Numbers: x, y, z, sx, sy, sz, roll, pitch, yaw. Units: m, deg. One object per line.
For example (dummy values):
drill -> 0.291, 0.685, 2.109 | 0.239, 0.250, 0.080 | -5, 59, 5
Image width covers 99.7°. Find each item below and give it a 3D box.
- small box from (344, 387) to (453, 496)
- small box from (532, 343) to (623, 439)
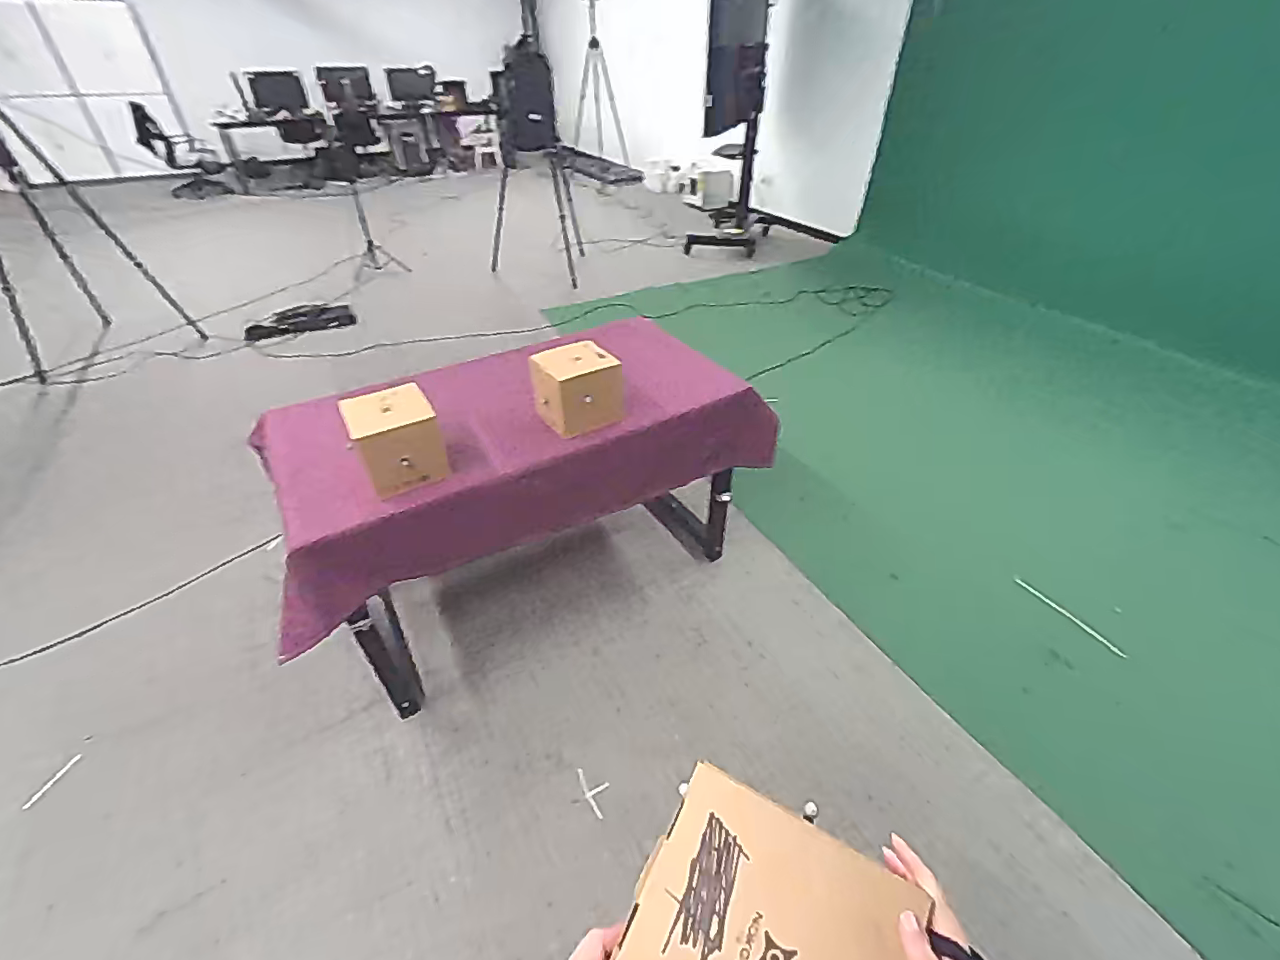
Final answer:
small box -> -0.540, -0.082, 1.221 | 0.168, 0.176, 0.179 | -21, 43, -25
small box -> -0.156, -0.229, 1.398 | 0.179, 0.176, 0.168 | -23, 44, -24
